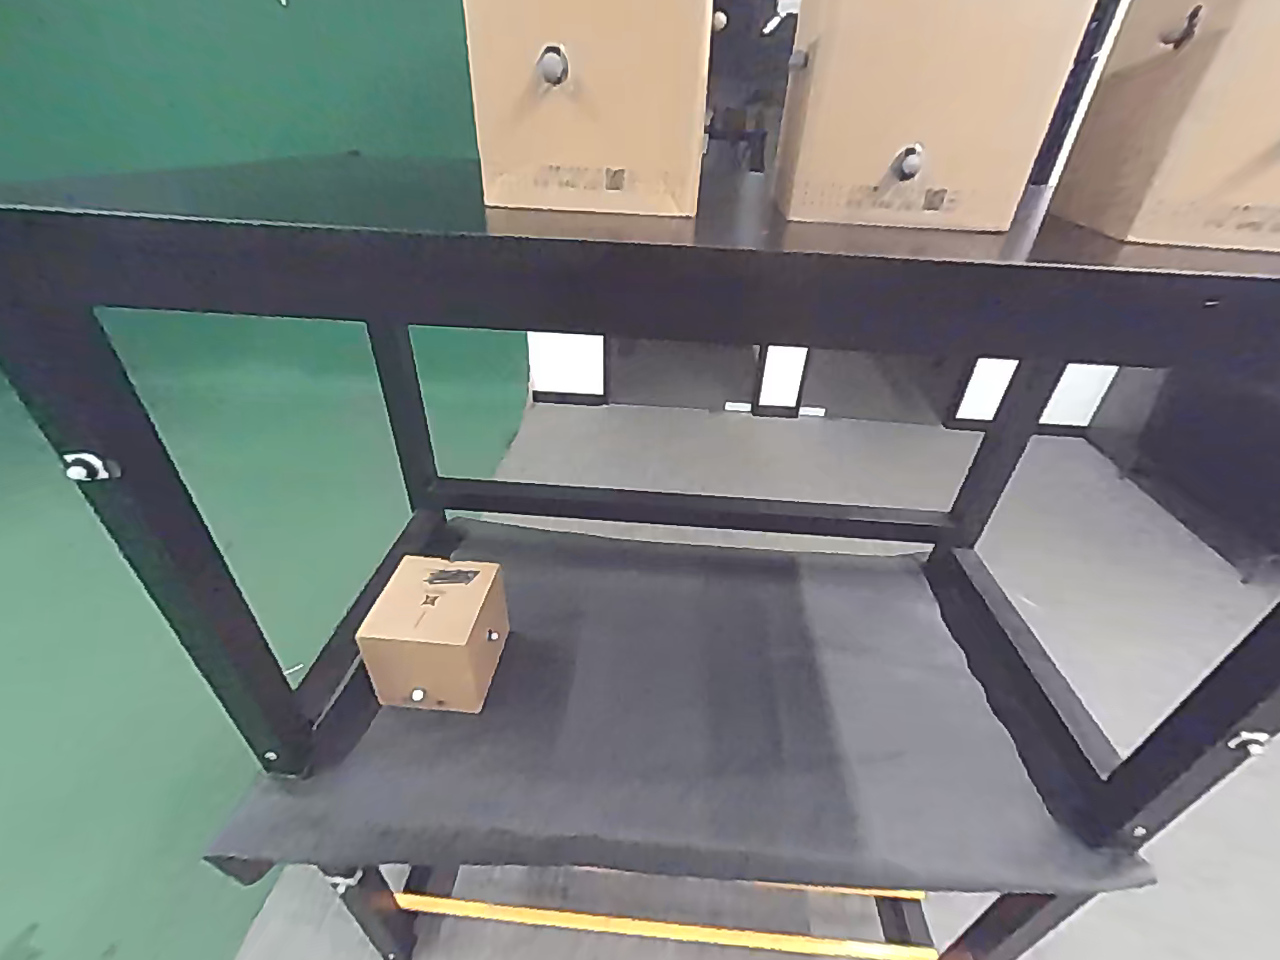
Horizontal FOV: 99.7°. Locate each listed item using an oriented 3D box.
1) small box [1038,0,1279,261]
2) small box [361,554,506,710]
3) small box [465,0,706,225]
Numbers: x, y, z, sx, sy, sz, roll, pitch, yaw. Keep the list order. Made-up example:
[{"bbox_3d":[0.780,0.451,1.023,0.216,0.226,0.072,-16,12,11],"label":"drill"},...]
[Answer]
[{"bbox_3d":[0.451,-0.272,0.412,0.168,0.176,0.179,11,34,12],"label":"small box"},{"bbox_3d":[-0.326,0.249,0.897,0.168,0.176,0.179,4,34,2],"label":"small box"},{"bbox_3d":[-0.031,-0.321,0.460,0.168,0.176,0.179,4,33,2],"label":"small box"}]
